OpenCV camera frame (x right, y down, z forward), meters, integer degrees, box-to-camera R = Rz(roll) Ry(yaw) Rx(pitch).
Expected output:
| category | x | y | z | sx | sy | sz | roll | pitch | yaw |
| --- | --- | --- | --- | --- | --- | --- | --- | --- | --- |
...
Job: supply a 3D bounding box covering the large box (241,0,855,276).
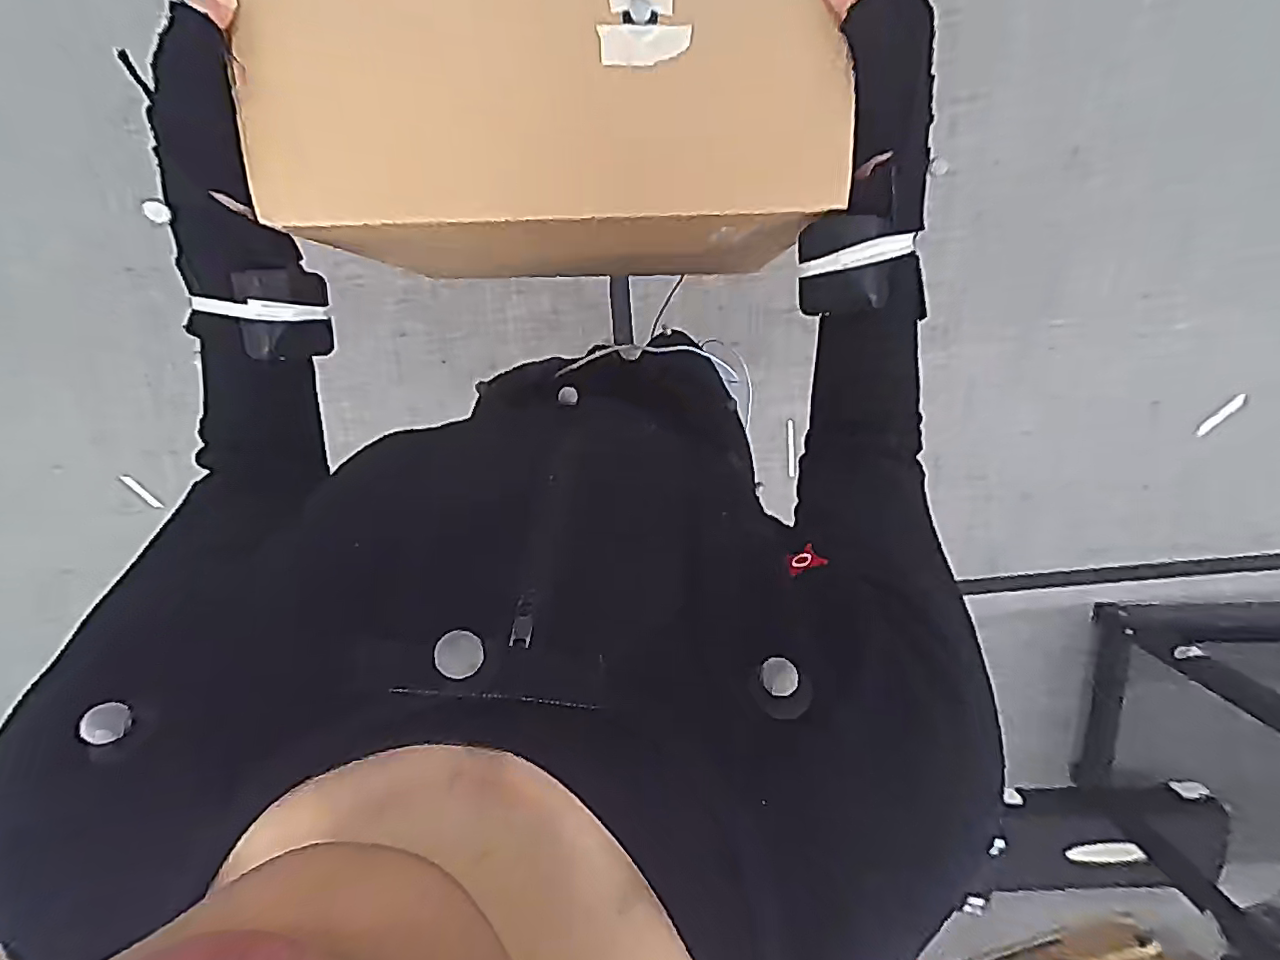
| category | x | y | z | sx | sy | sz | roll | pitch | yaw |
| --- | --- | --- | --- | --- | --- | --- | --- | --- | --- |
| large box | -0.061 | -0.372 | 0.487 | 0.408 | 0.320 | 0.320 | -1 | 105 | 1 |
